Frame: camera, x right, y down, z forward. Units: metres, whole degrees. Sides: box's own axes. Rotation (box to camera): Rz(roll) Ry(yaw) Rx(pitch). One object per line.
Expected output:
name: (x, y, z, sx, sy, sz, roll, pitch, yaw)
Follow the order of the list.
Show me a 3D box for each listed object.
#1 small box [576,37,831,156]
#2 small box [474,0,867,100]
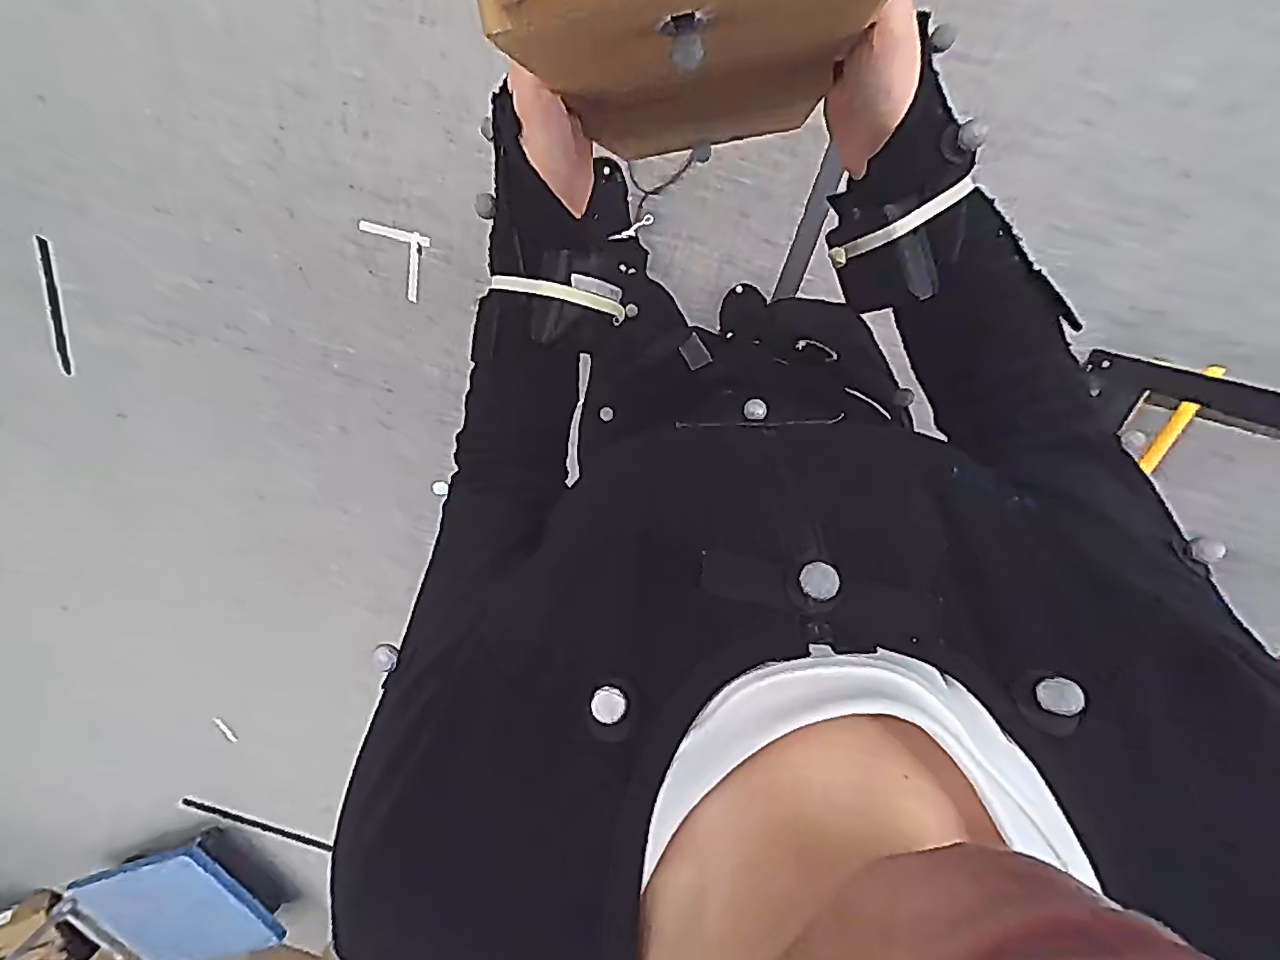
small box: (0.039, -0.355, 0.389, 0.168, 0.176, 0.179, -4, 115, 12)
small box: (0.019, -0.295, 0.239, 0.179, 0.176, 0.168, -4, 114, 12)
